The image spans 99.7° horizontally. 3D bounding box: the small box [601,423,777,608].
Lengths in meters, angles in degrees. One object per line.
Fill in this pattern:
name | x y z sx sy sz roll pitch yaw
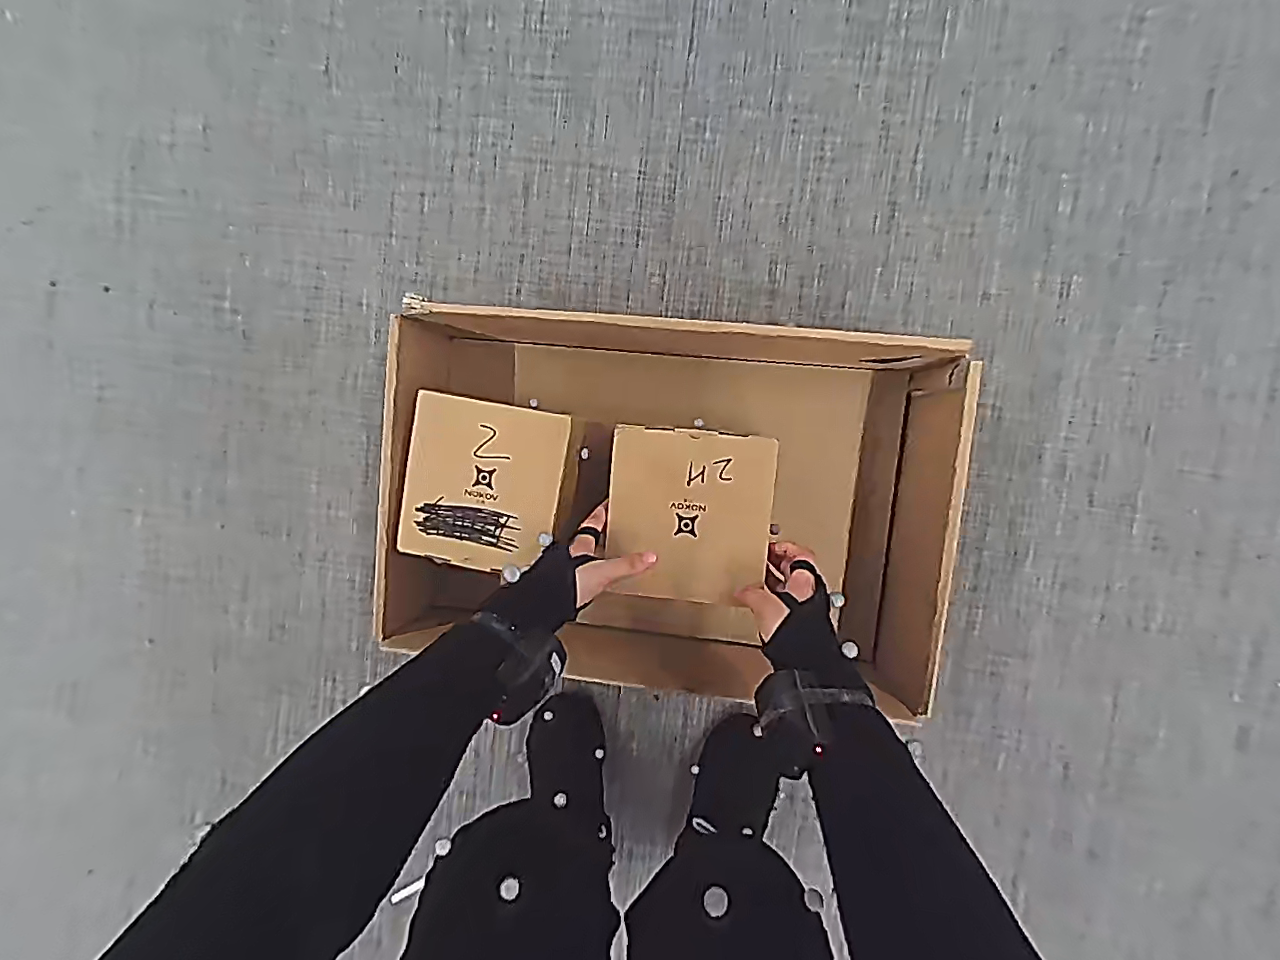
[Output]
small box | 0.057 0.029 0.624 0.168 0.176 0.179 5 95 6
